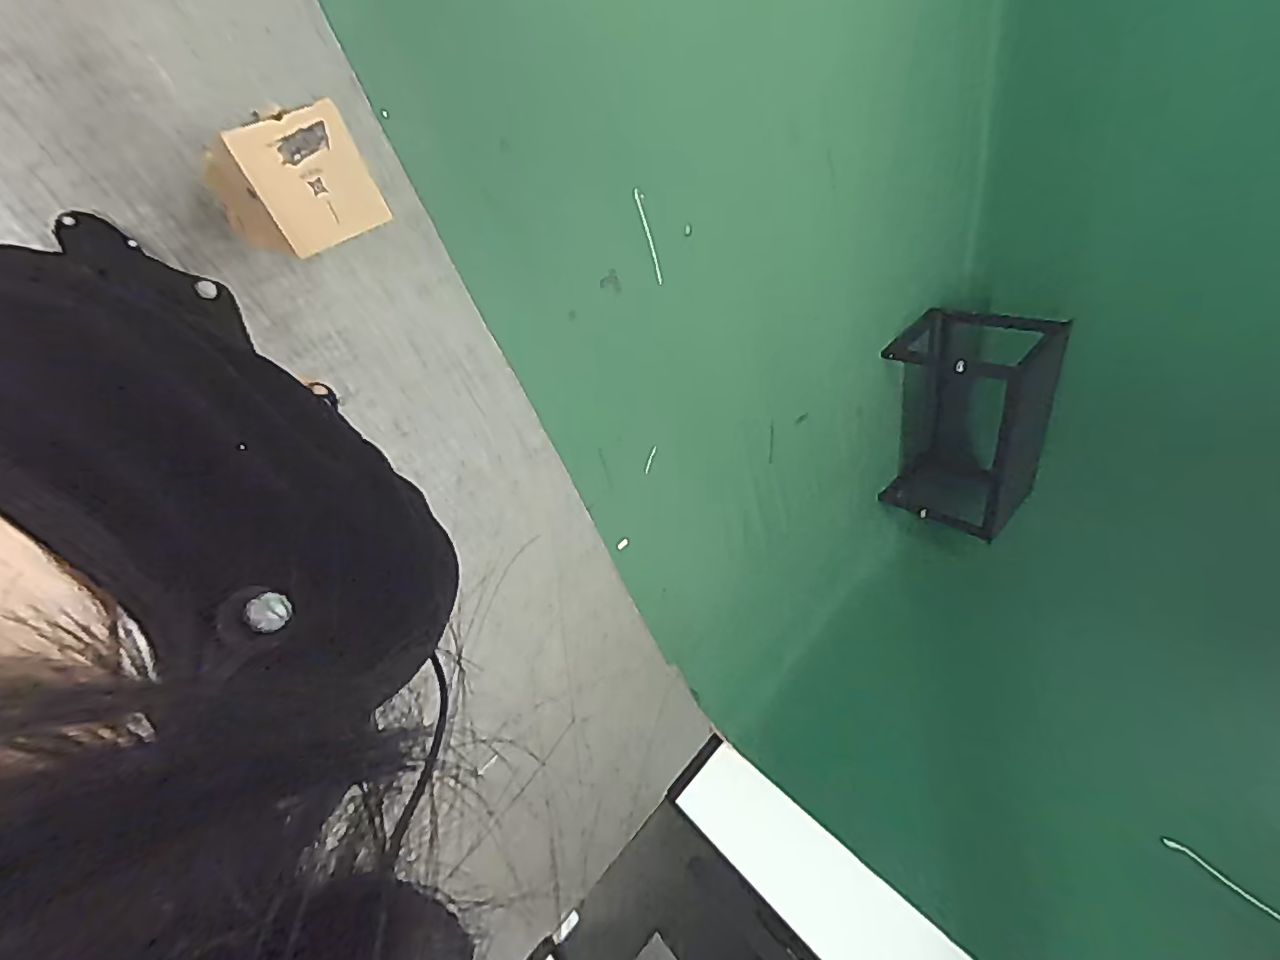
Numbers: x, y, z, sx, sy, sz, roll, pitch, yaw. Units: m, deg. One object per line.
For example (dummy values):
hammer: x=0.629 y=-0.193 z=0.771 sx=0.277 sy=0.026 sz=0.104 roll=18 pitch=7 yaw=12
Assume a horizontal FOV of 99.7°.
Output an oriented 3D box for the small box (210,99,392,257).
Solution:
small box: x=-0.544 y=-0.478 z=0.868 sx=0.168 sy=0.176 sz=0.179 roll=-39 pitch=133 yaw=-24

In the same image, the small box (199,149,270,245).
small box: x=-0.754 y=-0.584 z=1.098 sx=0.179 sy=0.176 sz=0.168 roll=-31 pitch=129 yaw=-28
